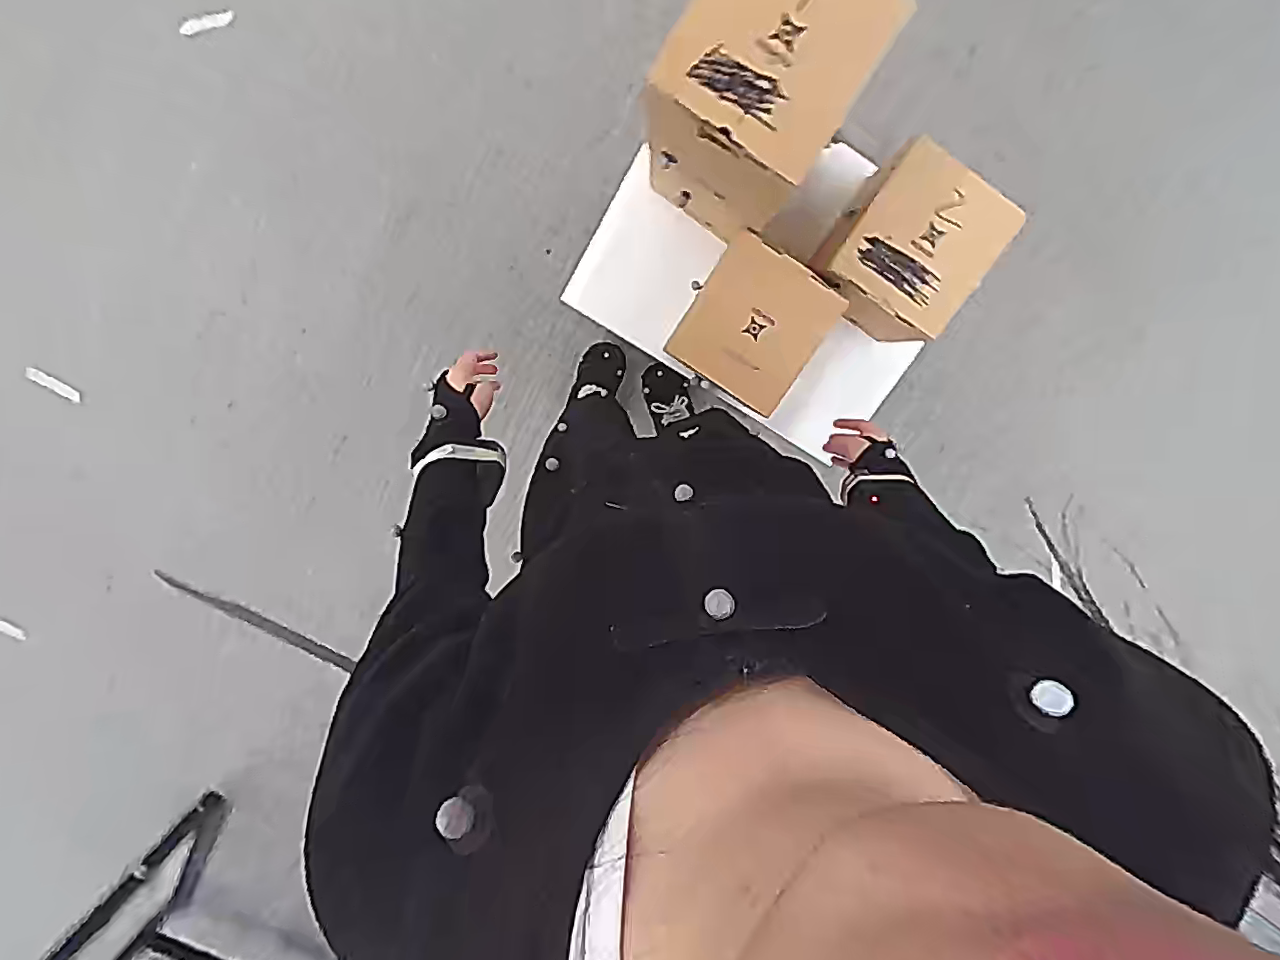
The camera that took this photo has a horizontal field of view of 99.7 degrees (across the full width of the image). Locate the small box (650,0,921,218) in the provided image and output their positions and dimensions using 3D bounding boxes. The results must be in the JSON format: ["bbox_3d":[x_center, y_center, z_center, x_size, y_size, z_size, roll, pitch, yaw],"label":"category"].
[{"bbox_3d":[0.125,-0.395,0.537,0.168,0.176,0.179,33,101,-7],"label":"small box"}]

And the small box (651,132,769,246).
[{"bbox_3d":[0.130,-0.432,0.697,0.168,0.176,0.179,34,102,-7],"label":"small box"}]
